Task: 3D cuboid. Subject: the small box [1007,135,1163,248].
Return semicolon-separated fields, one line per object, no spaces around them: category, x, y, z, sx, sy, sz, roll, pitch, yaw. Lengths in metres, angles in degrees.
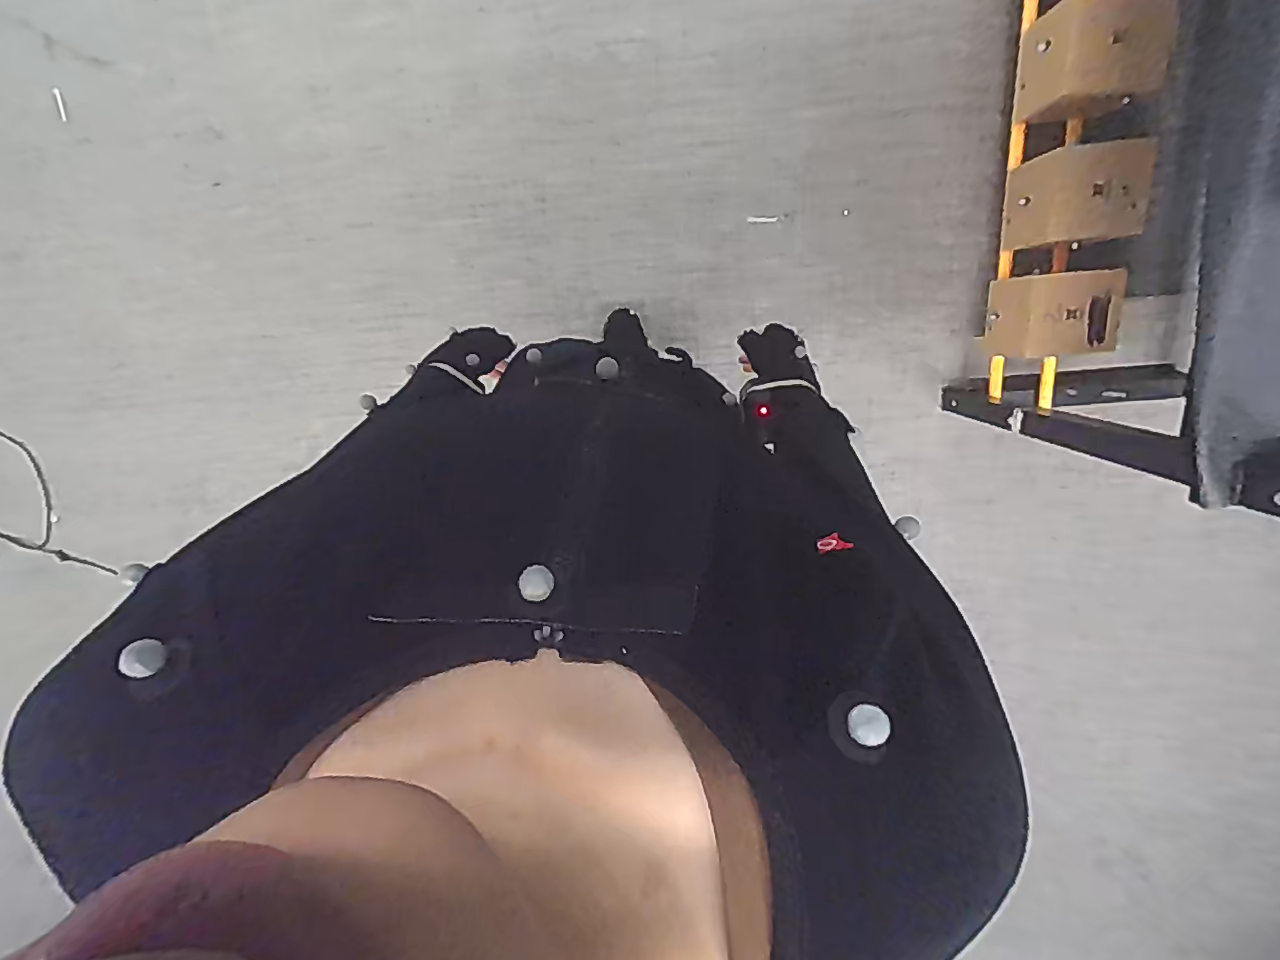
small box;0.883;-0.574;1.095;0.179;0.176;0.168;-4;107;5

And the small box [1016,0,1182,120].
small box;0.859;-0.809;1.029;0.179;0.176;0.168;-2;107;4
